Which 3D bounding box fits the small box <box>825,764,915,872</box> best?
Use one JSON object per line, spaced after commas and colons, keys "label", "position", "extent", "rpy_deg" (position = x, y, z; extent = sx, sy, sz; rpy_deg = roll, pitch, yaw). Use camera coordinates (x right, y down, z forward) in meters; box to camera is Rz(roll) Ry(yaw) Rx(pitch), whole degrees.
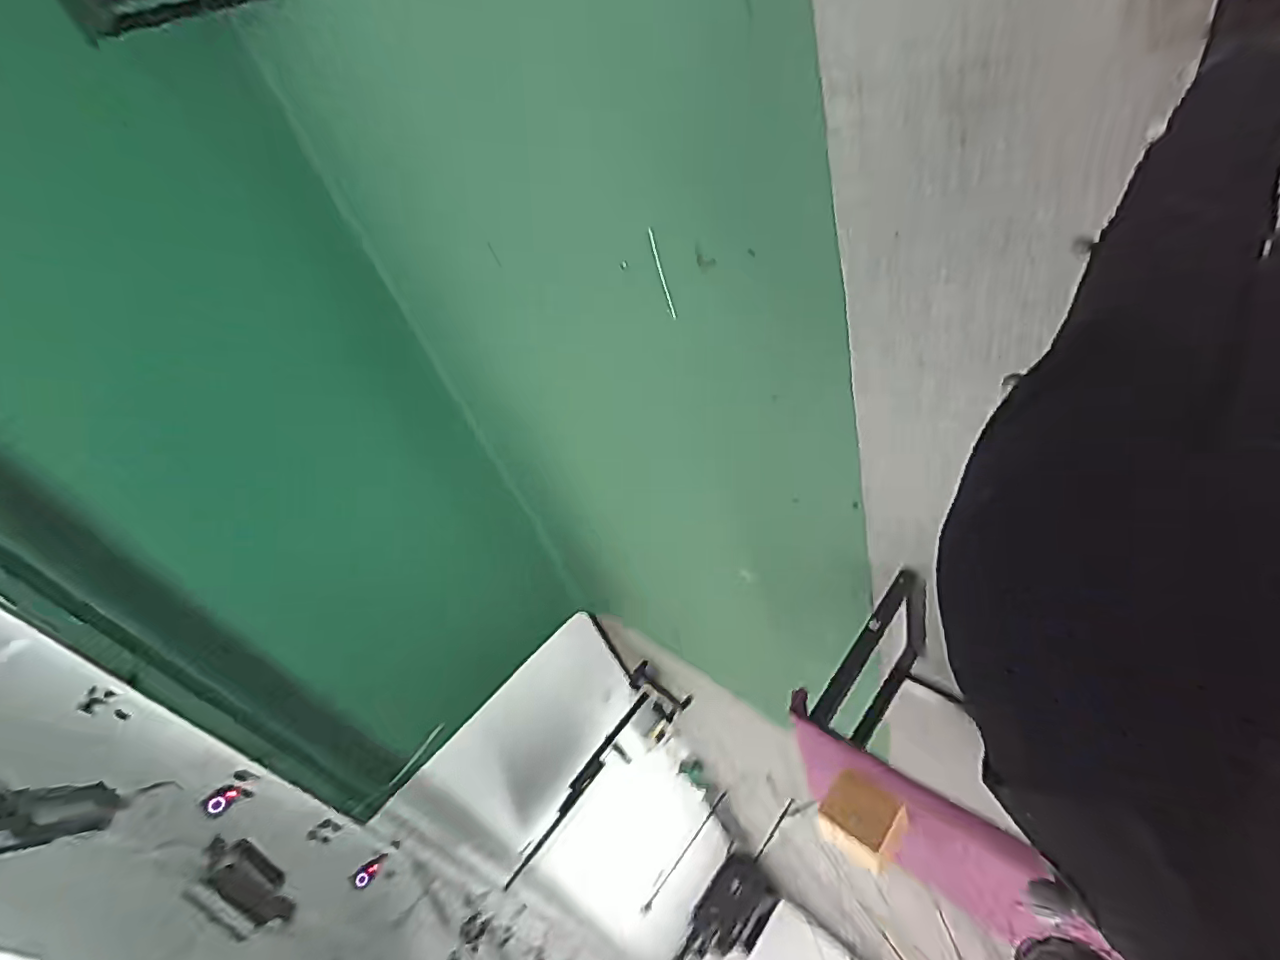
{"label": "small box", "position": [0.644, 0.931, 1.510], "extent": [0.179, 0.176, 0.168], "rpy_deg": [17, 141, 43]}
